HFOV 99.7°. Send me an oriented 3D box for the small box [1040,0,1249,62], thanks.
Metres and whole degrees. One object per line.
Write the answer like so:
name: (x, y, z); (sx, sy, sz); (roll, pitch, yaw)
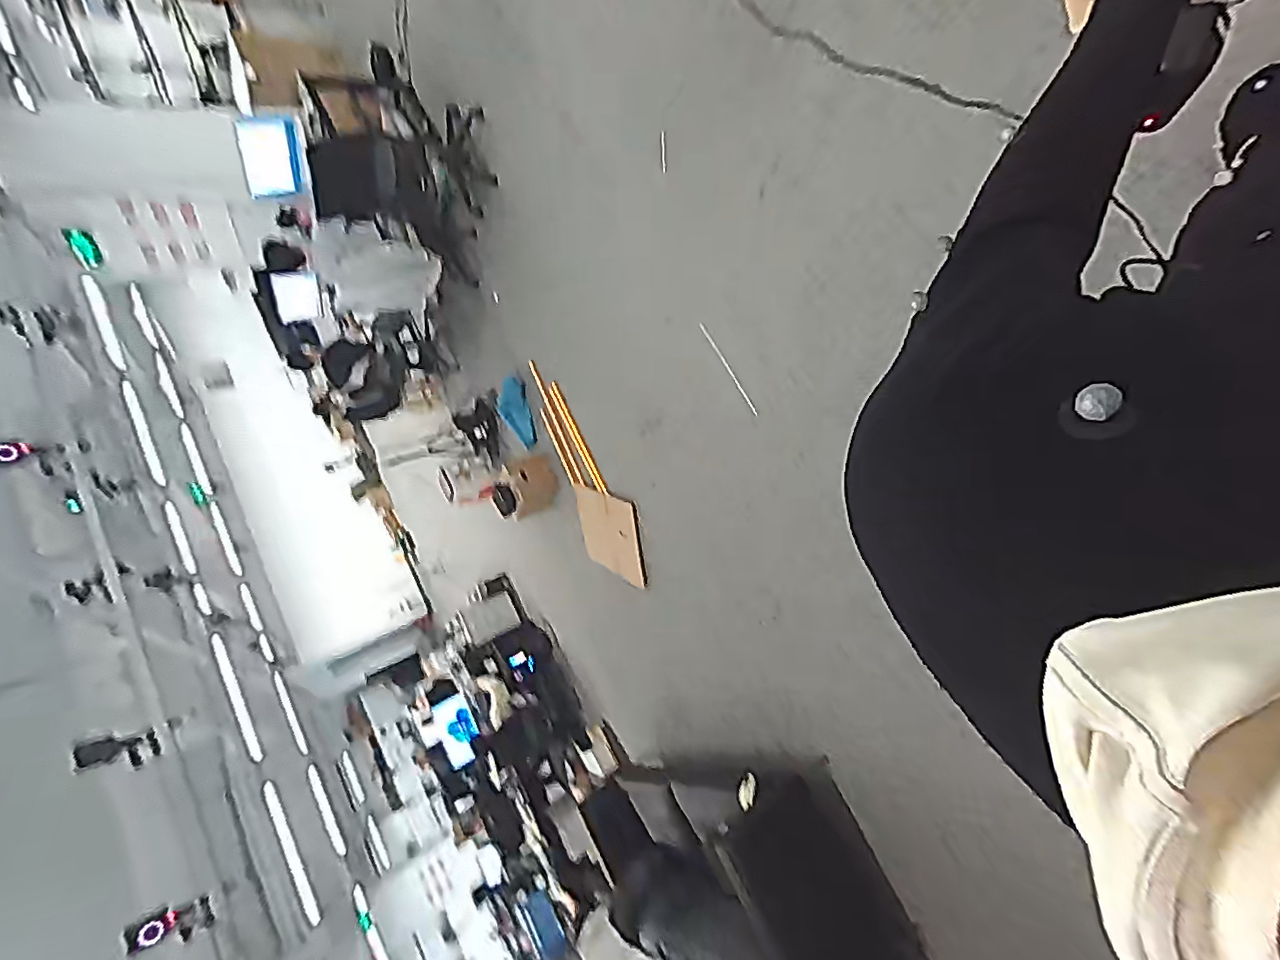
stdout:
small box: (0.486, -0.521, 0.485); (0.168, 0.176, 0.179); (-8, 97, 64)
